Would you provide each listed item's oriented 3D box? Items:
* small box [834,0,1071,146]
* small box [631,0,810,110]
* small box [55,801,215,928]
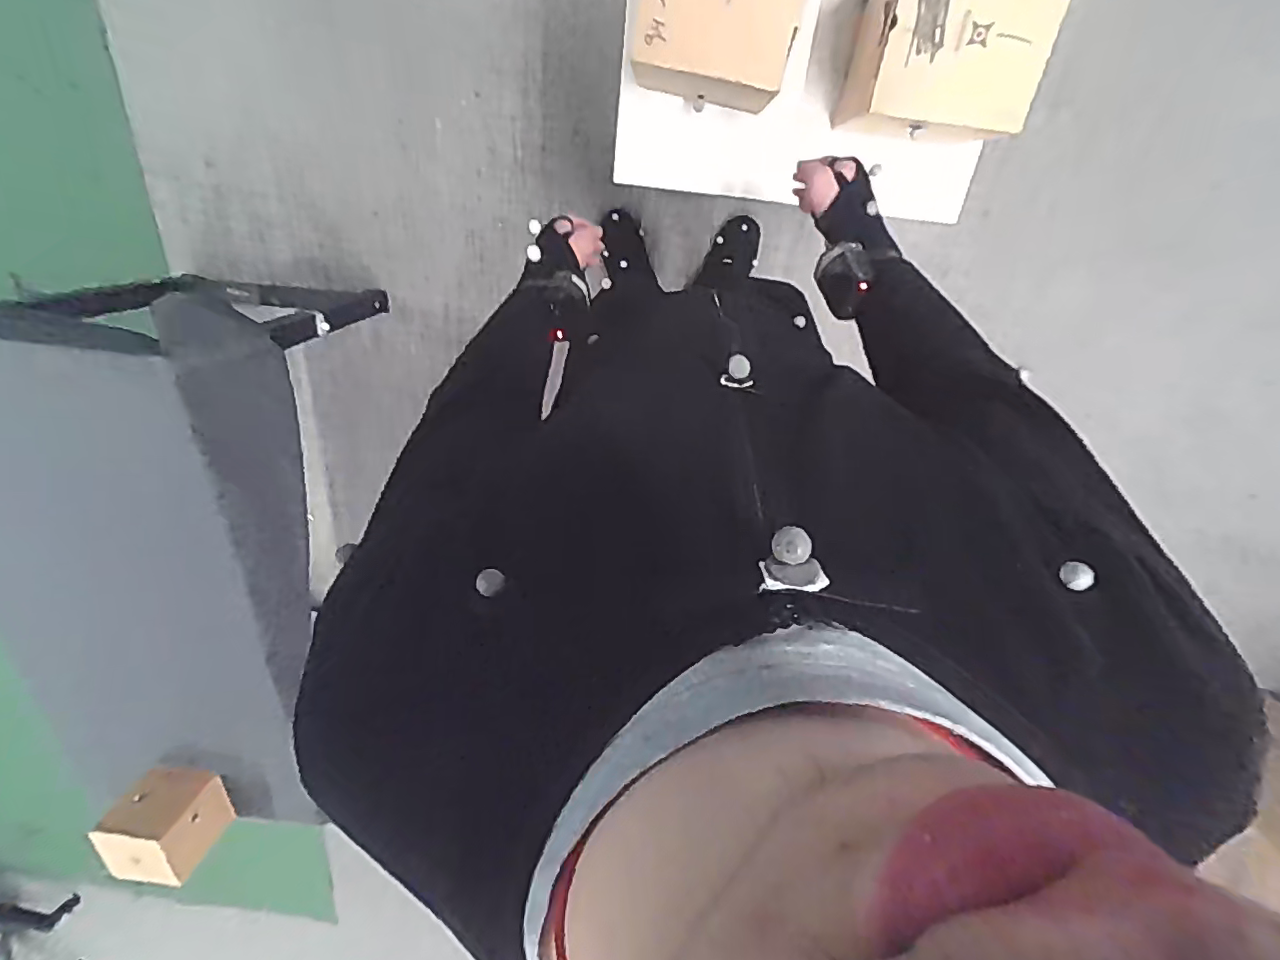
[{"bbox_3d":[0.351,-0.503,0.634,0.179,0.176,0.168,7,117,-2],"label":"small box"},{"bbox_3d":[0.089,-0.545,0.620,0.179,0.176,0.168,9,116,-5],"label":"small box"},{"bbox_3d":[-1.097,0.843,1.193,0.168,0.176,0.179,5,117,1],"label":"small box"}]
